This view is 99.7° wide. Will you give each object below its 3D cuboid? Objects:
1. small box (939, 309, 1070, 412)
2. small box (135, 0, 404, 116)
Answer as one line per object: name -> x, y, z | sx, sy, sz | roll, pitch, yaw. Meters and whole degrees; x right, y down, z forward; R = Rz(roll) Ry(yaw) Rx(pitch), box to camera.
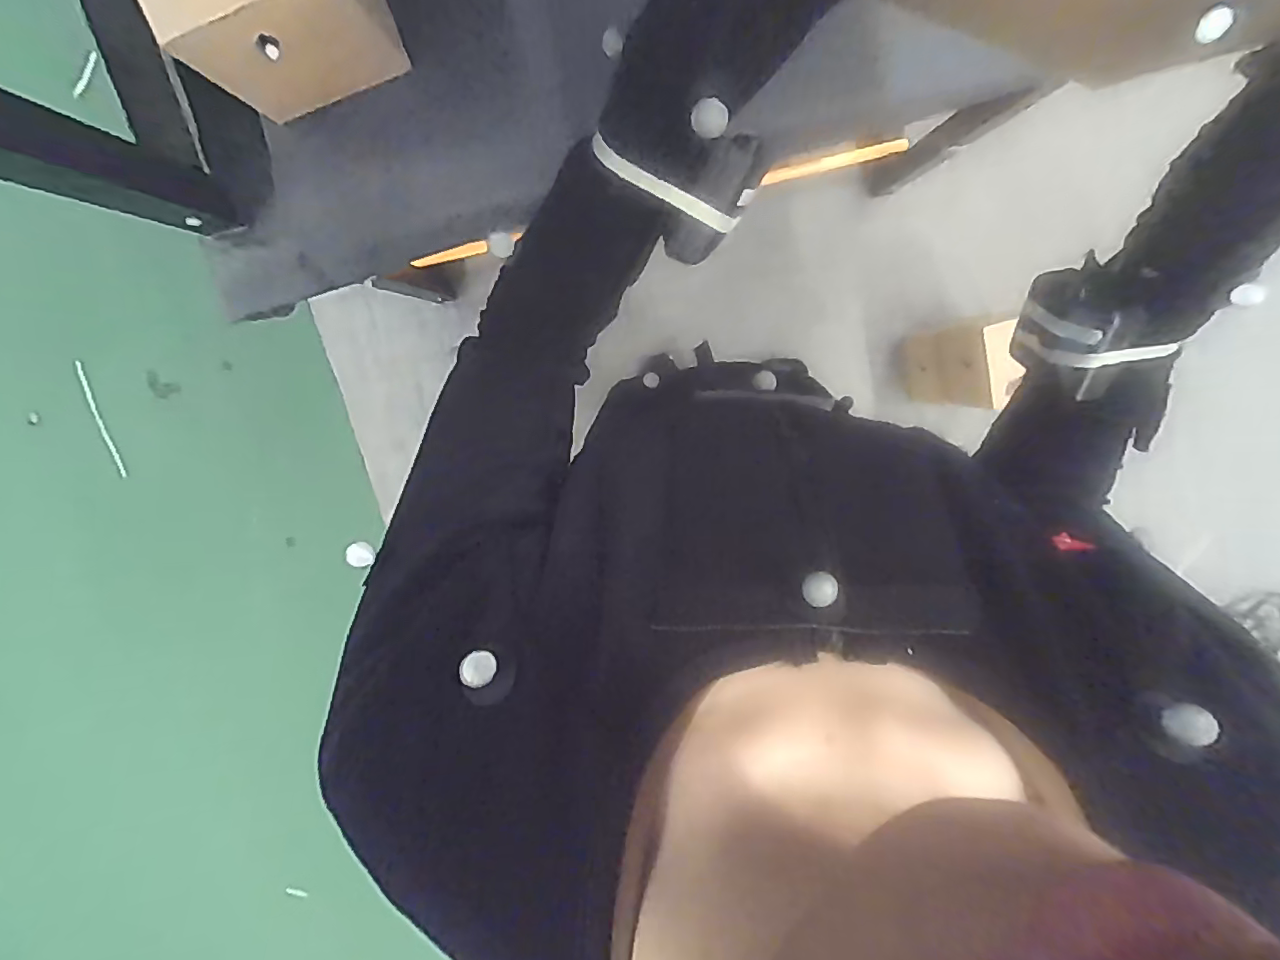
small box -> 0.778, -0.257, 1.167 | 0.168, 0.176, 0.179 | -15, 101, 3
small box -> -0.373, -0.503, 0.534 | 0.179, 0.176, 0.168 | -19, 103, 4
